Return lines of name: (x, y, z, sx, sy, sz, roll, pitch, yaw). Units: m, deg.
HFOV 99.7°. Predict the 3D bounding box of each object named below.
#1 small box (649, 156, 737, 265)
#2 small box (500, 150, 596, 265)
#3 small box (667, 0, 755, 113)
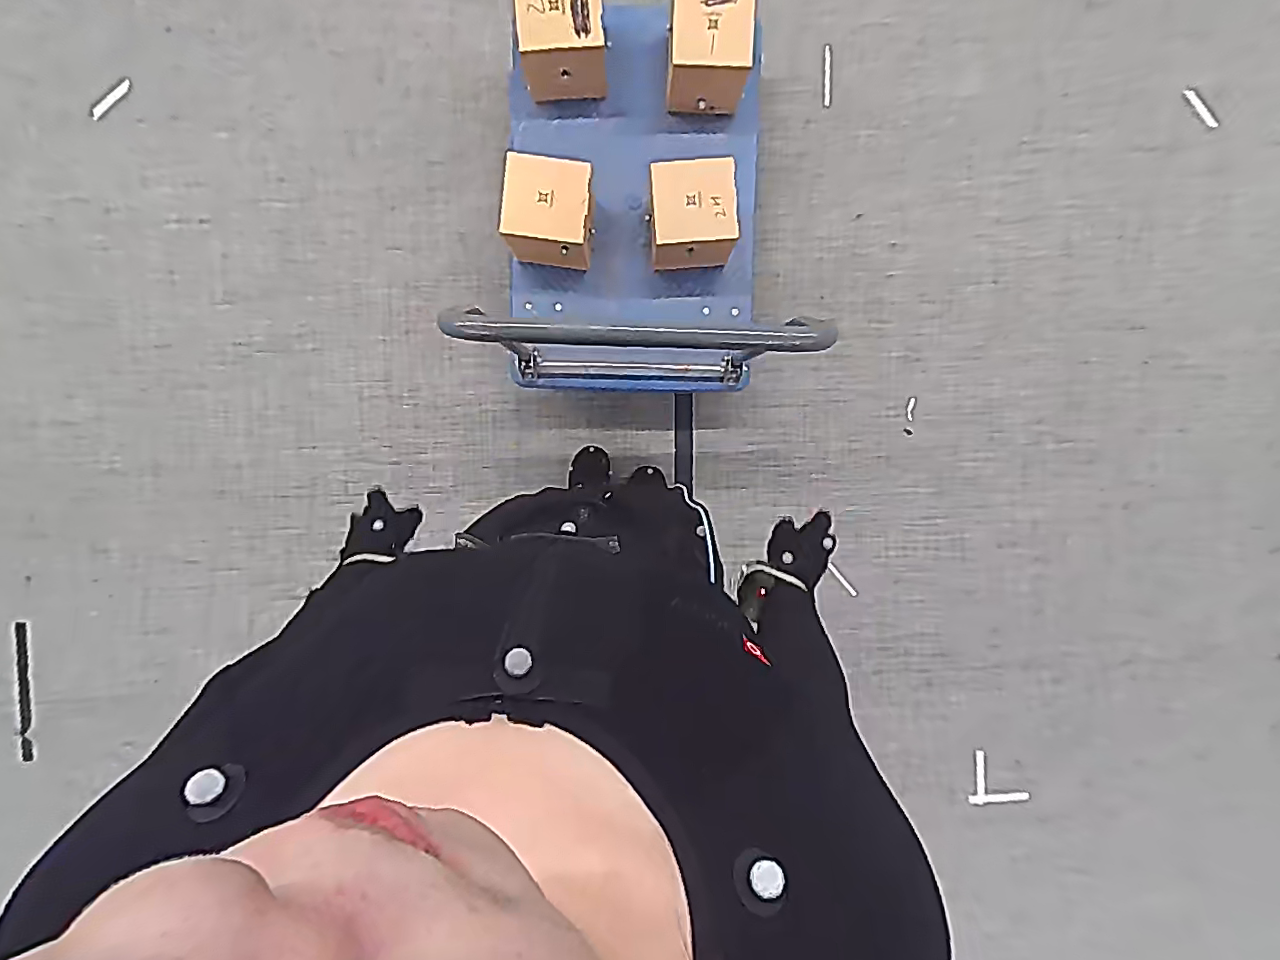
small box: (0.111, -0.586, 1.196, 0.179, 0.176, 0.168, -4, 94, -1)
small box: (-0.196, -0.589, 1.191, 0.179, 0.176, 0.168, 7, 93, -3)
small box: (0.147, -0.939, 1.171, 0.168, 0.176, 0.179, 2, 95, -1)
